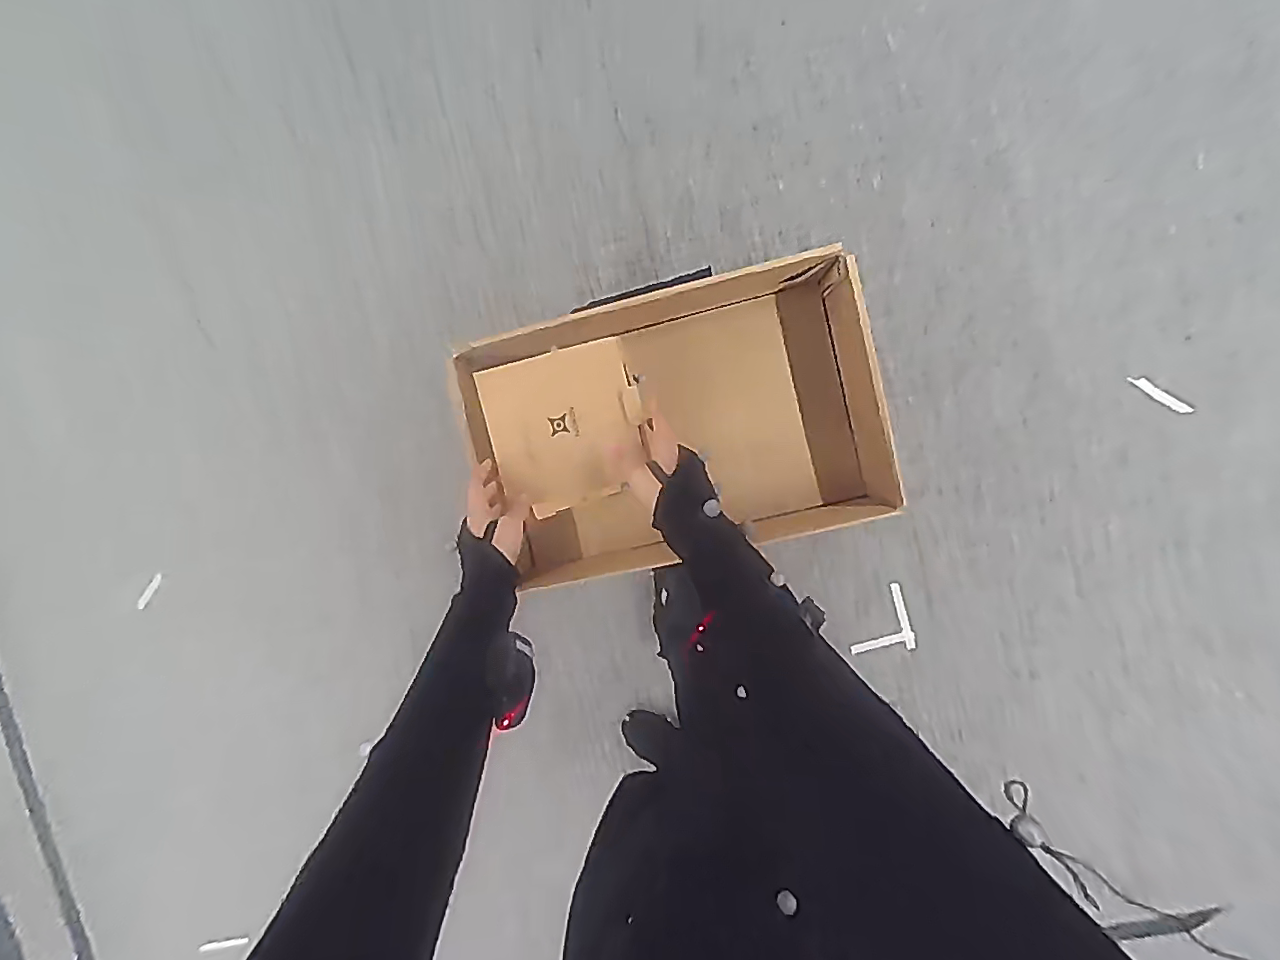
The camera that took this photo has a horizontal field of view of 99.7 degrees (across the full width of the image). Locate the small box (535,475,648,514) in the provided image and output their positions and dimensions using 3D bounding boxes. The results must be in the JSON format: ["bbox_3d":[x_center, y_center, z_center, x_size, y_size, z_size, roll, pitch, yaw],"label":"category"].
[{"bbox_3d":[-0.090,-0.058,0.864,0.168,0.176,0.179,-18,93,6],"label":"small box"}]

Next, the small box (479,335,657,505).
[{"bbox_3d":[-0.079,-0.075,0.697,0.179,0.176,0.168,-13,93,6],"label":"small box"}]
